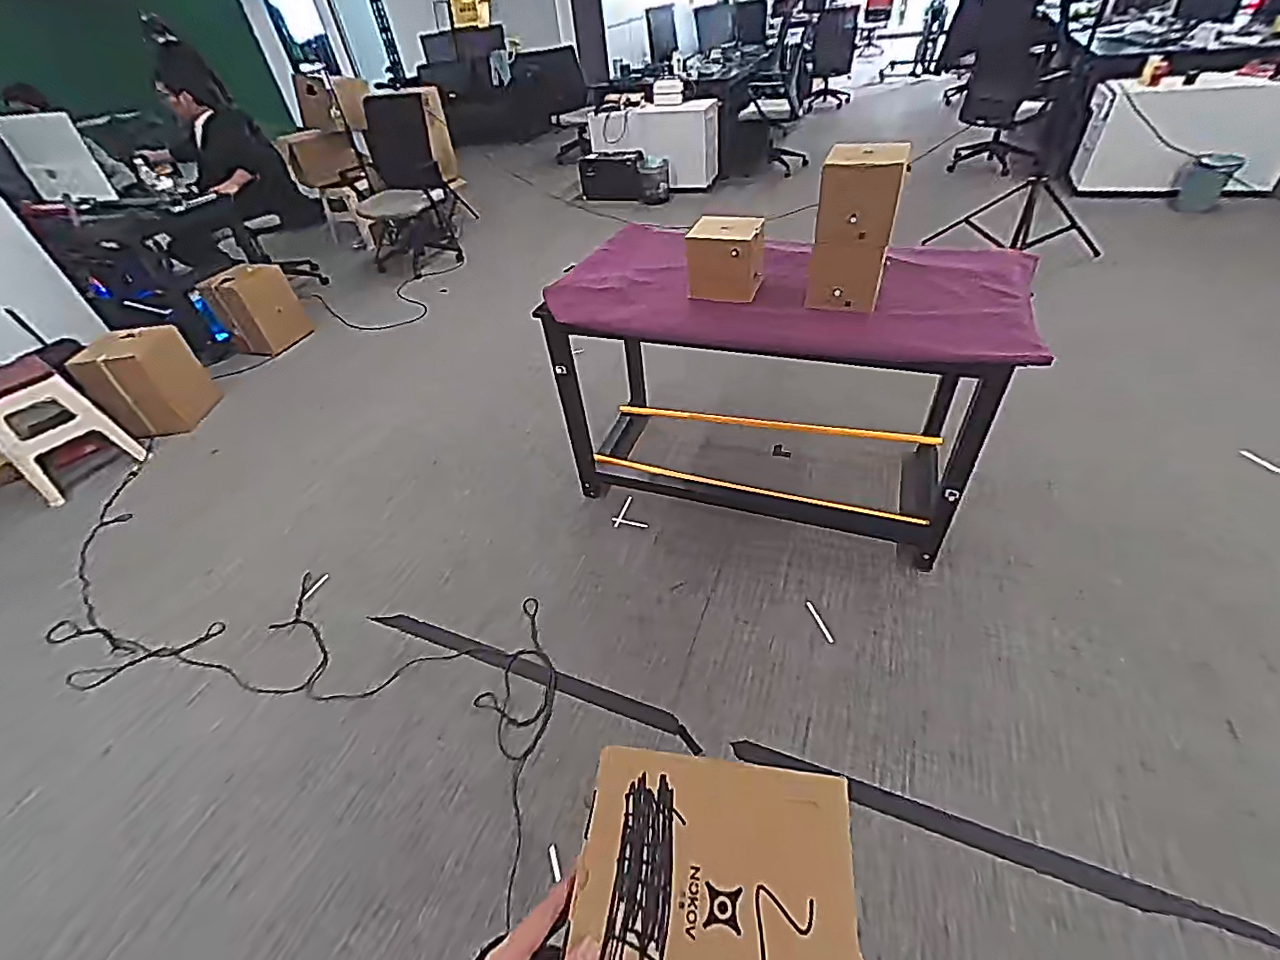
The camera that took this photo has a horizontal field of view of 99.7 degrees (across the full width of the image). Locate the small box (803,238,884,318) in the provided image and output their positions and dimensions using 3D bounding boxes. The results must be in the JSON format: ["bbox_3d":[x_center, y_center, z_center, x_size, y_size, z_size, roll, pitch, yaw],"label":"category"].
[{"bbox_3d":[0.517,-0.534,1.372,0.168,0.176,0.179,12,46,21],"label":"small box"}]

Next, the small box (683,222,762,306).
[{"bbox_3d":[0.225,-0.589,1.475,0.179,0.176,0.168,12,45,19],"label":"small box"}]

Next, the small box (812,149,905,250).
[{"bbox_3d":[0.505,-0.655,1.259,0.168,0.176,0.179,12,46,21],"label":"small box"}]
